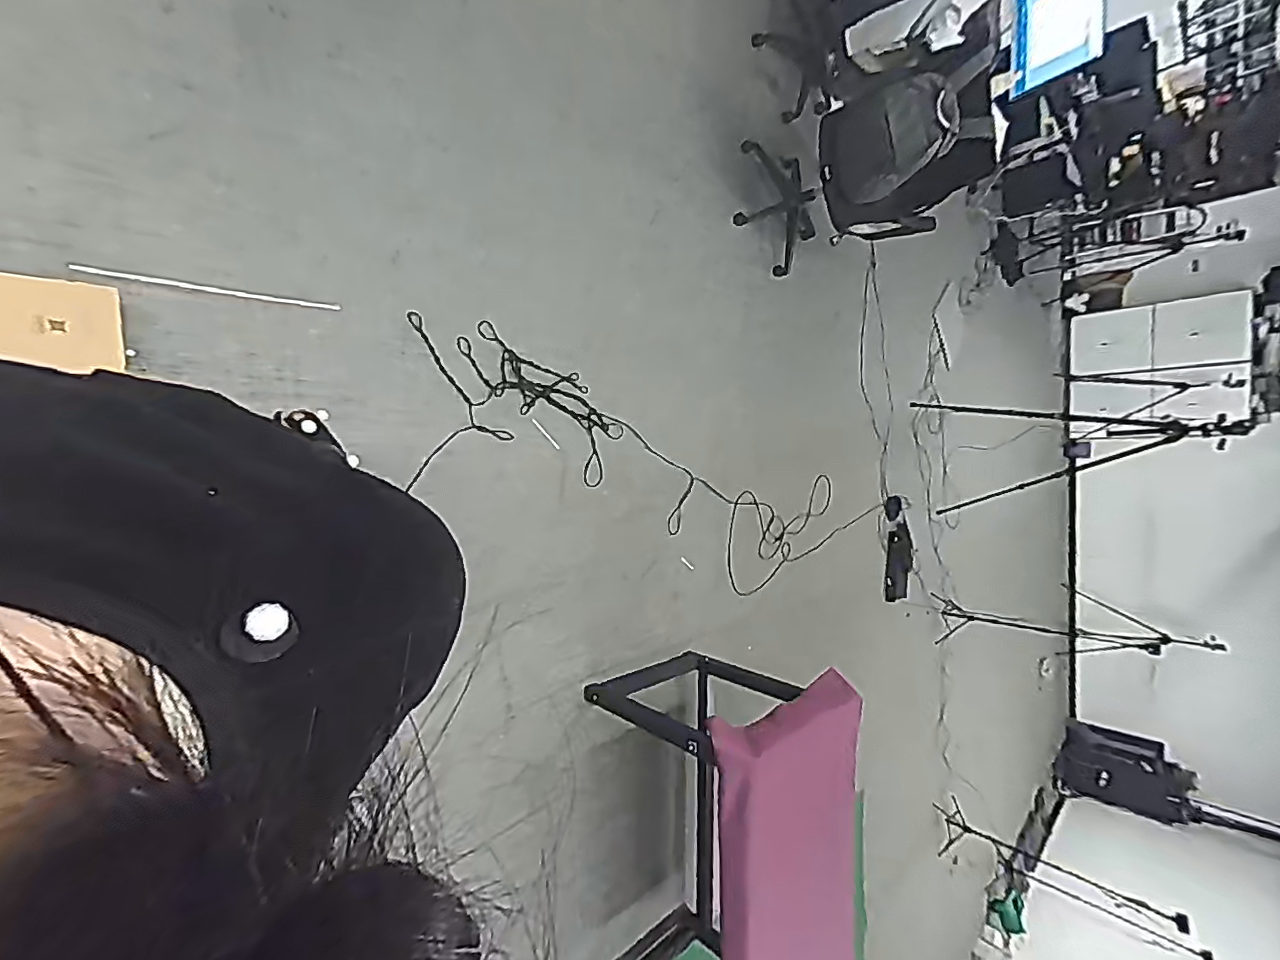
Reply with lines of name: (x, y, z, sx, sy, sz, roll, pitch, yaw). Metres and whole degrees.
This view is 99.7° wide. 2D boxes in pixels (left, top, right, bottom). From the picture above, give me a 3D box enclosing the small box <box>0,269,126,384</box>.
small box: (-1.074, -0.273, 0.997, 0.179, 0.176, 0.168, -4, 94, -43)
